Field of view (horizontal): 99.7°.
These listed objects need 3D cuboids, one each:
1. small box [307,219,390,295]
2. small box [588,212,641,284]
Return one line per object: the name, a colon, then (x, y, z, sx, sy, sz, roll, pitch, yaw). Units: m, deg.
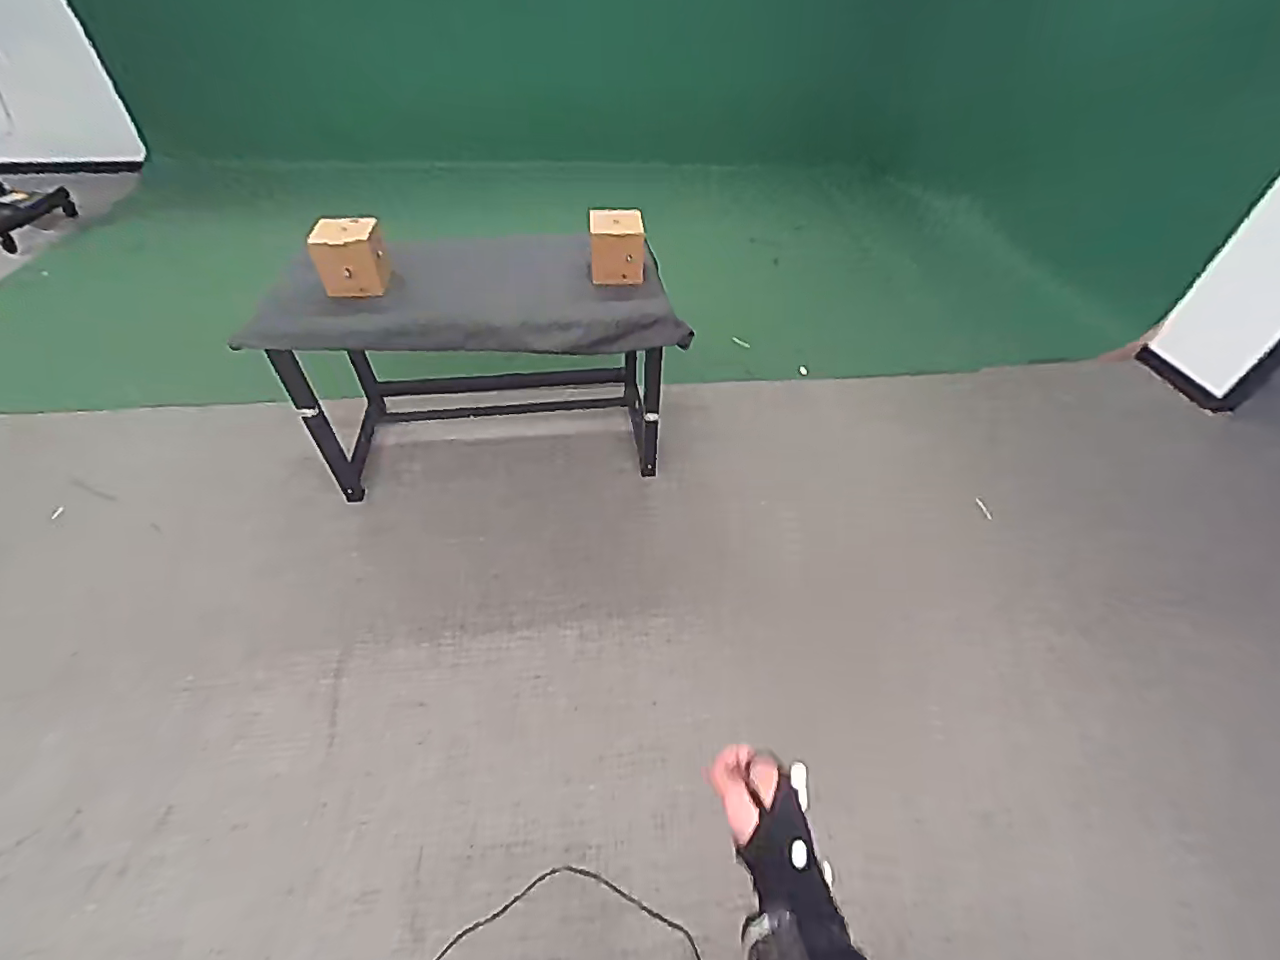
small box: (-0.882, -0.679, 1.656, 0.168, 0.176, 0.179, -5, 48, -8)
small box: (-0.084, -0.754, 1.761, 0.168, 0.176, 0.179, -2, 46, -6)
